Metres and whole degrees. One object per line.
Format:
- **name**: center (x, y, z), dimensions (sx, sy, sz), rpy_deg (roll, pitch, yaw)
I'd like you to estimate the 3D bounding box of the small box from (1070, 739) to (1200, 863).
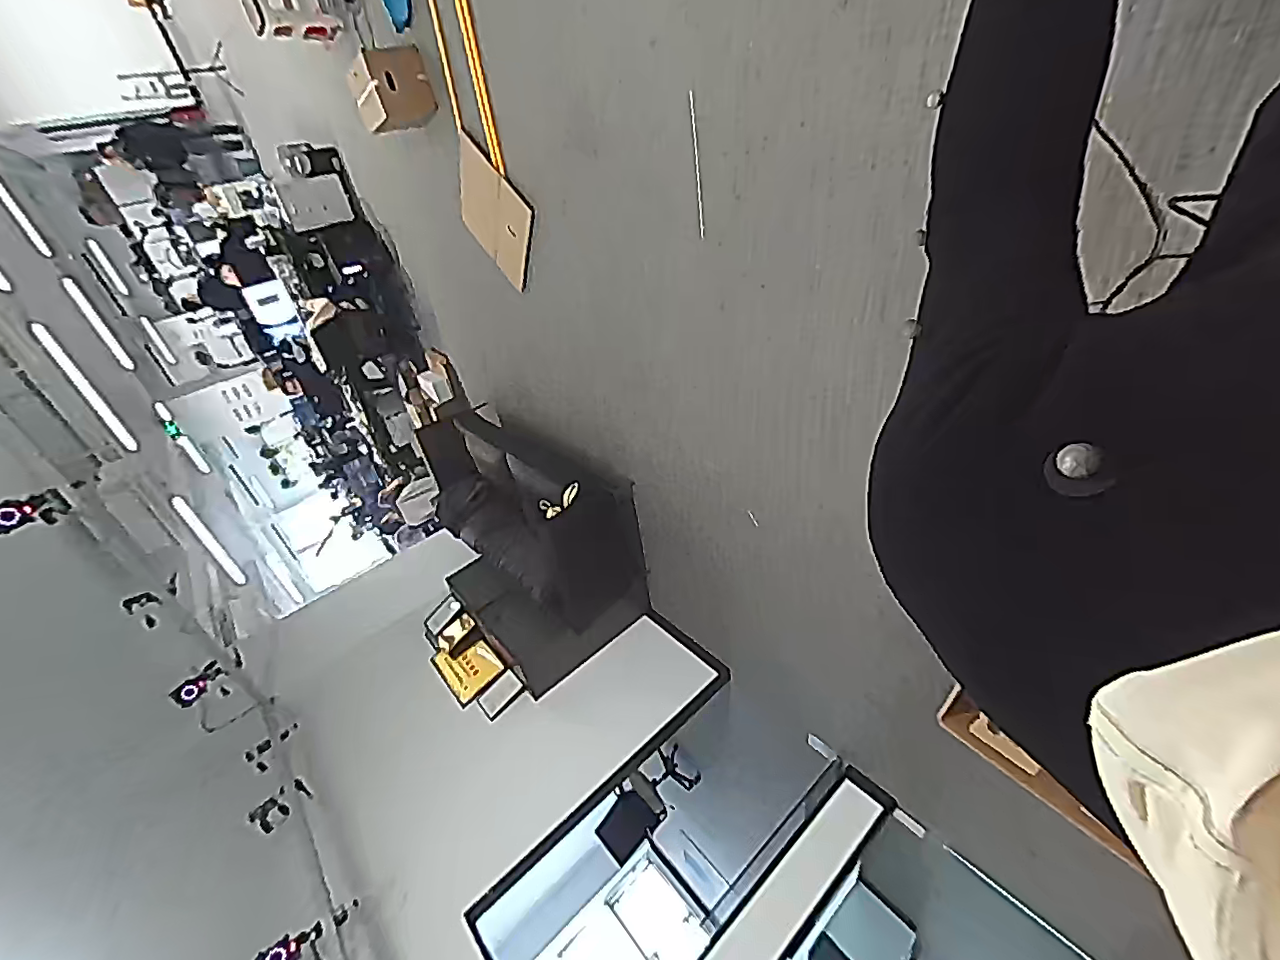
- **small box**: center (1.233, 0.792, 1.347), dimensions (0.179, 0.176, 0.168), rpy_deg (32, 142, 38)
